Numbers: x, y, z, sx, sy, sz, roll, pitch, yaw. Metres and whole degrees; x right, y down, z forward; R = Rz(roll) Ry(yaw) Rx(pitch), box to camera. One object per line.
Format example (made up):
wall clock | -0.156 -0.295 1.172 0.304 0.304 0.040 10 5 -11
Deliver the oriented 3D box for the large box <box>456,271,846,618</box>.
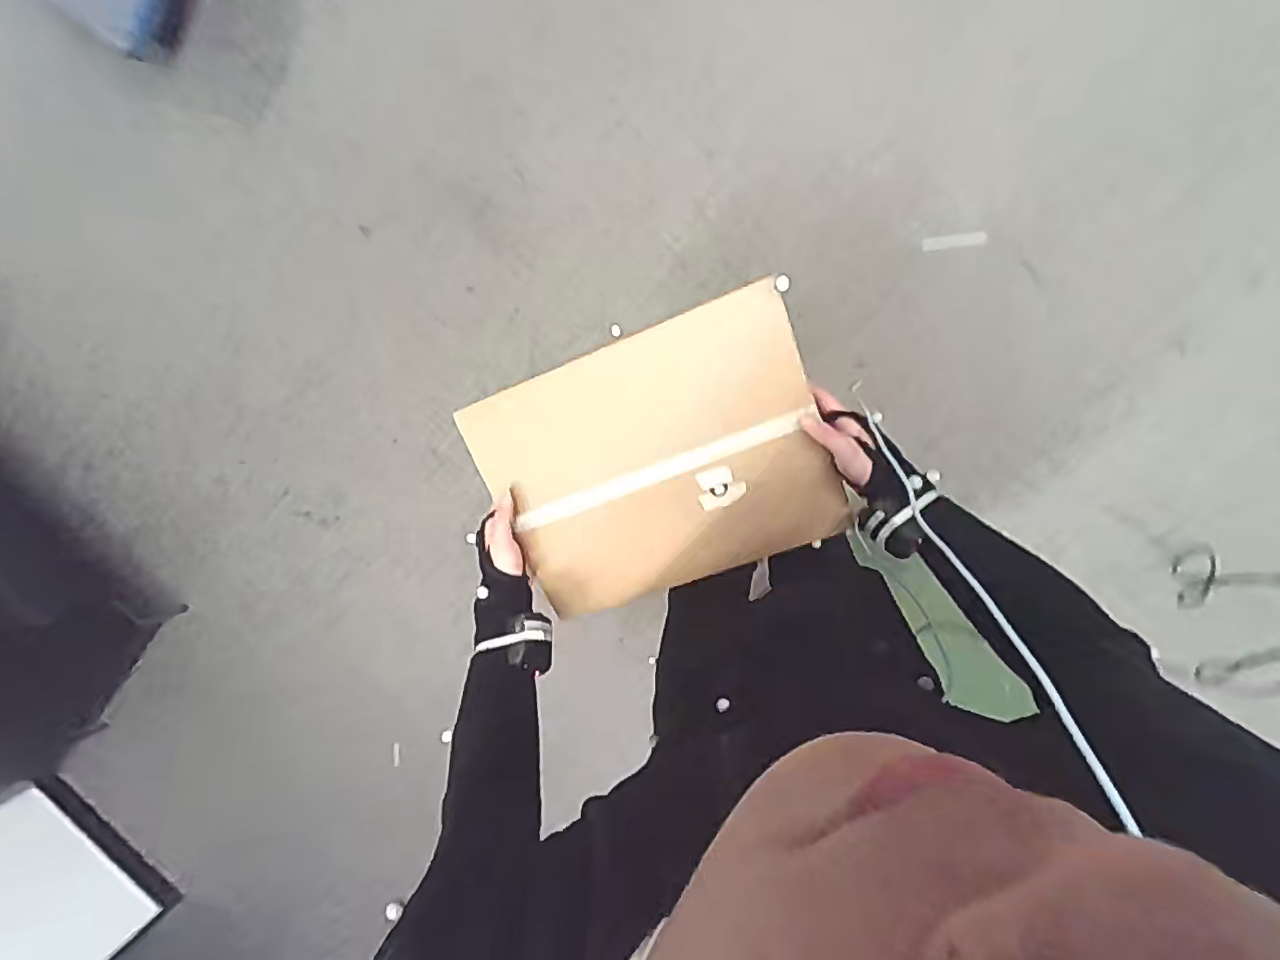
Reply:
large box | 0.022 -0.062 0.799 0.408 0.320 0.320 -22 105 10
